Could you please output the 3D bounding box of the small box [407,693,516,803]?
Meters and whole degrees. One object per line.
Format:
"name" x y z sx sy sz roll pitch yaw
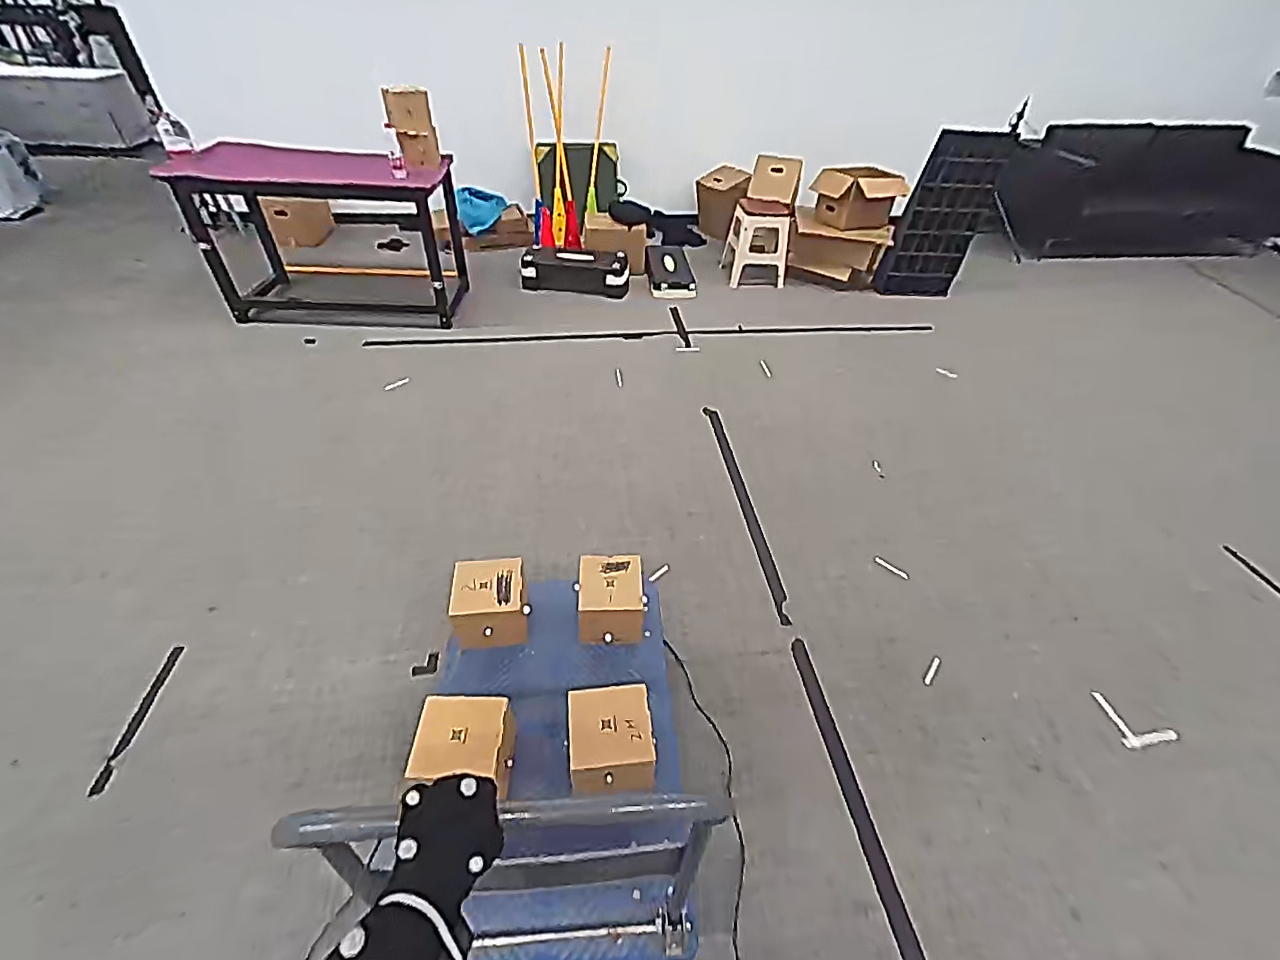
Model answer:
"small box" -0.373 0.579 1.164 0.179 0.176 0.168 3 42 -4

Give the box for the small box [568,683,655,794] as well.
"small box" -0.065 0.572 1.194 0.179 0.176 0.168 -3 43 -7

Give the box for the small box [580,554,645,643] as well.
"small box" -0.077 0.321 1.466 0.168 0.176 0.179 0 44 -4
